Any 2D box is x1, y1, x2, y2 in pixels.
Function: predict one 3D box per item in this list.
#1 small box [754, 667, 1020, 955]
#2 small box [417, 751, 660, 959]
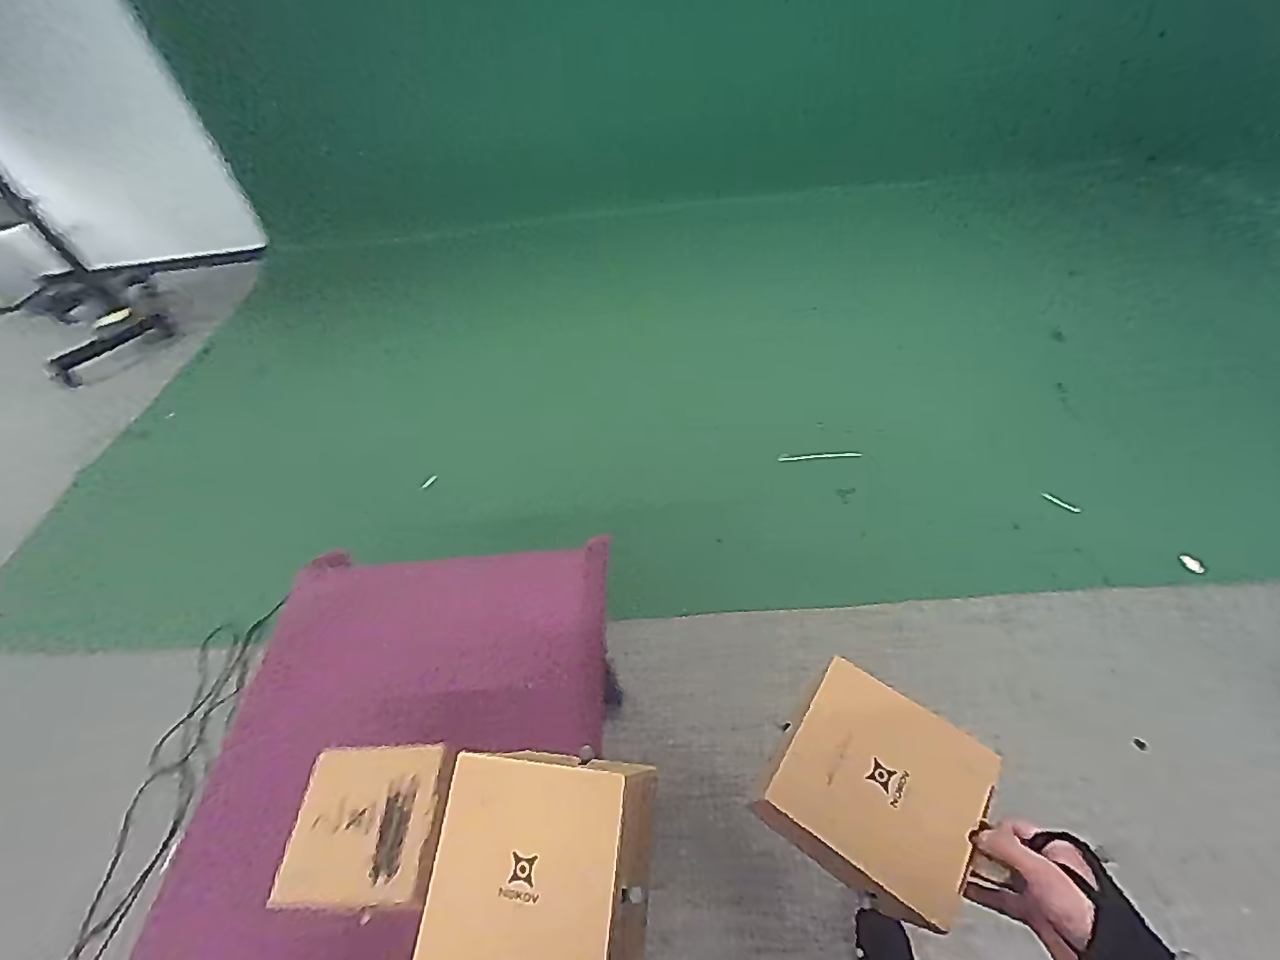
[{"bbox_3d":[0.242,0.332,0.566,0.179,0.176,0.168,31,62,21],"label":"small box"},{"bbox_3d":[-0.078,0.368,0.519,0.168,0.176,0.179,1,65,13],"label":"small box"}]
